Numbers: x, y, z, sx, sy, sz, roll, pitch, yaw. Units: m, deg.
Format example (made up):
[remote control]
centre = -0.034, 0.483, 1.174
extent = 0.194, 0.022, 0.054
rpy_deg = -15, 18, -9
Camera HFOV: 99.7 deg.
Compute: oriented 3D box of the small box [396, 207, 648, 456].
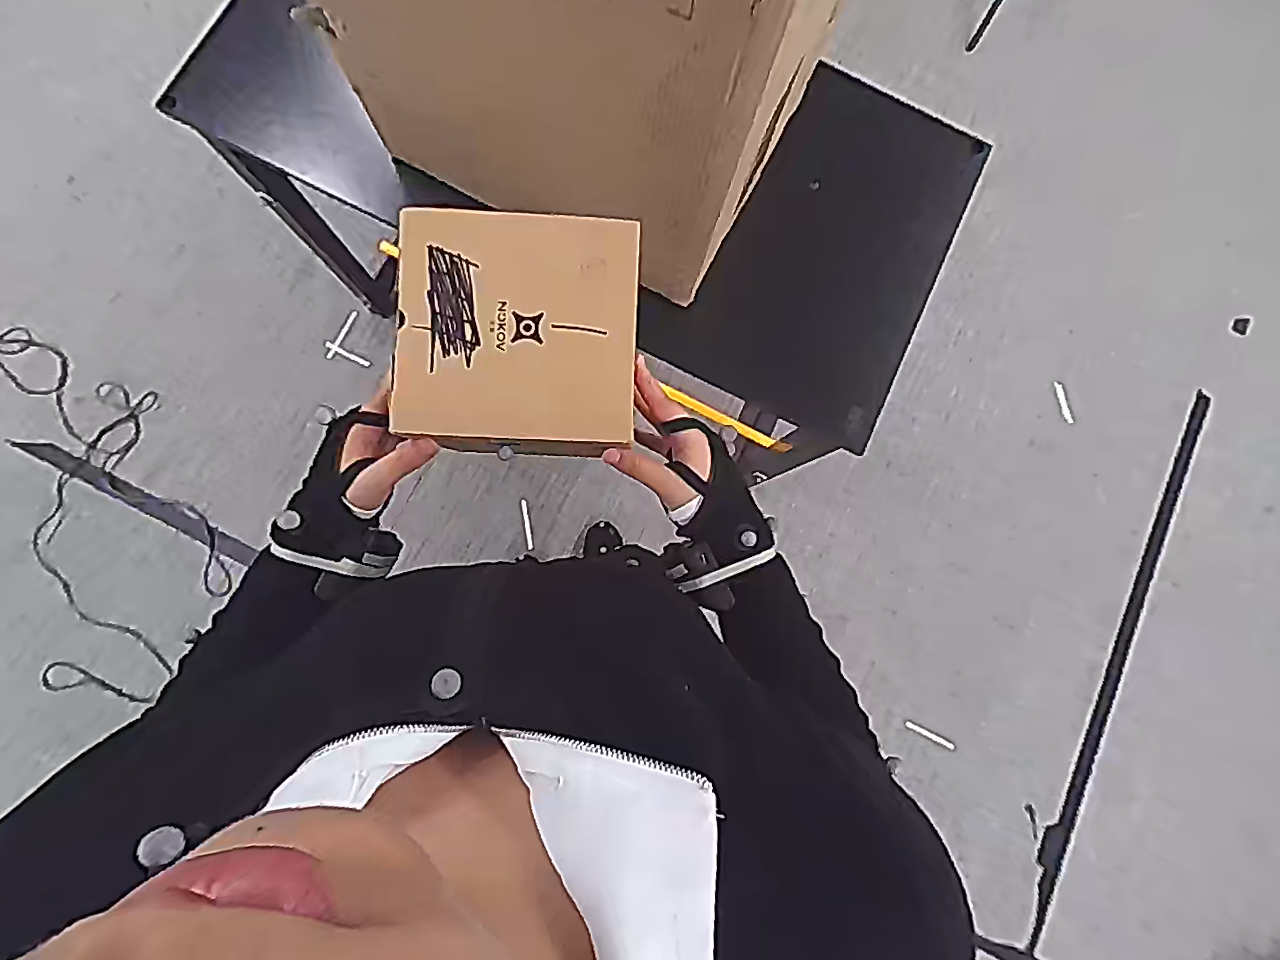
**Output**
[small box]
centre = -0.087, -0.110, 0.472
extent = 0.179, 0.176, 0.168
rpy_deg = 3, 88, -3
